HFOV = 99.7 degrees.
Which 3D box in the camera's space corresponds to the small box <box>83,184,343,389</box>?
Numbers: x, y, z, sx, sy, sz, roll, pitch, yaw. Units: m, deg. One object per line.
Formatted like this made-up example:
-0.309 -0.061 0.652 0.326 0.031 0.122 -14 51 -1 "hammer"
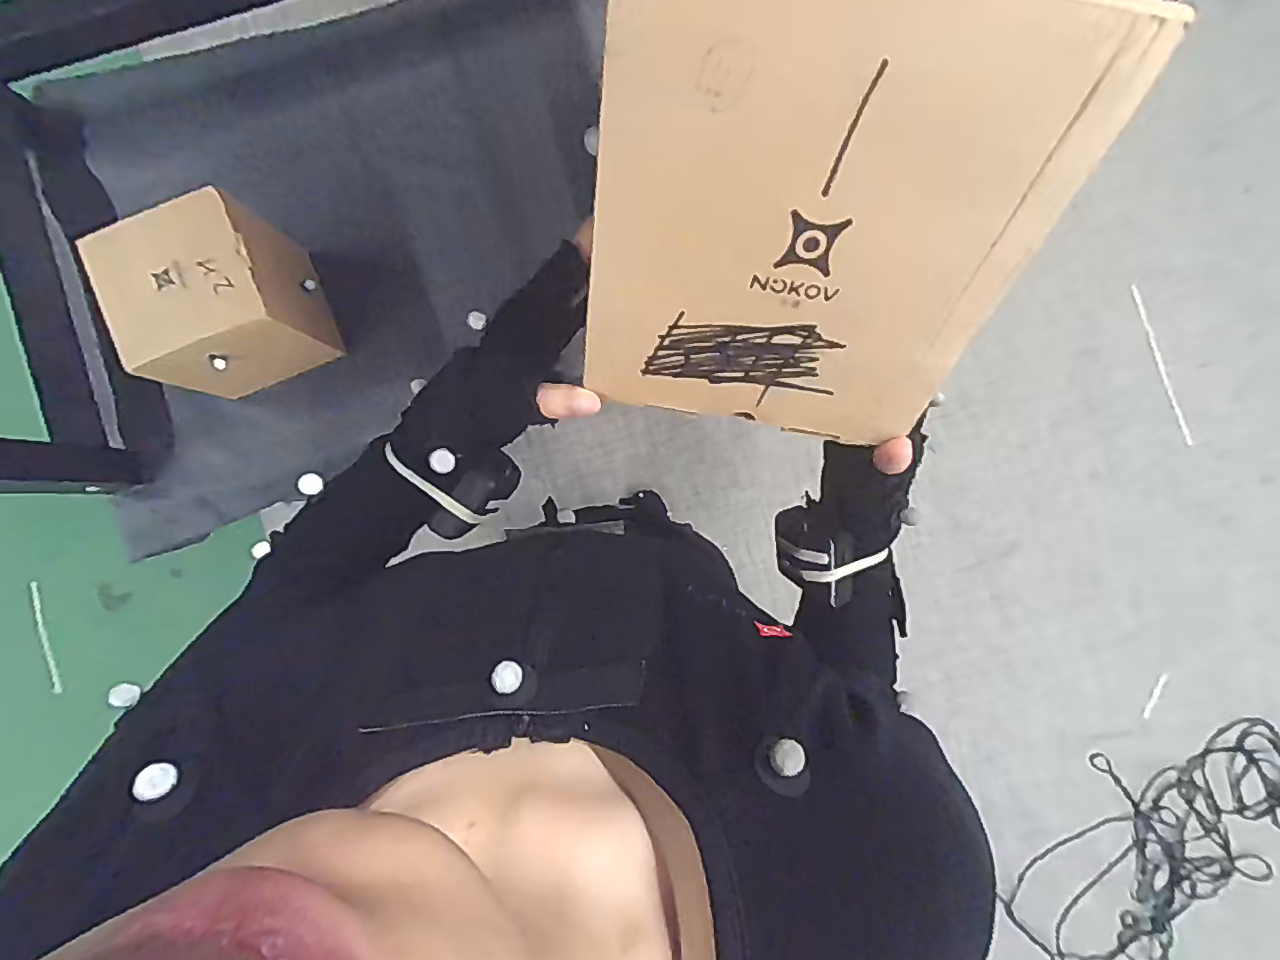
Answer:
-0.531 -0.232 0.698 0.179 0.176 0.168 -22 89 -1 "small box"
